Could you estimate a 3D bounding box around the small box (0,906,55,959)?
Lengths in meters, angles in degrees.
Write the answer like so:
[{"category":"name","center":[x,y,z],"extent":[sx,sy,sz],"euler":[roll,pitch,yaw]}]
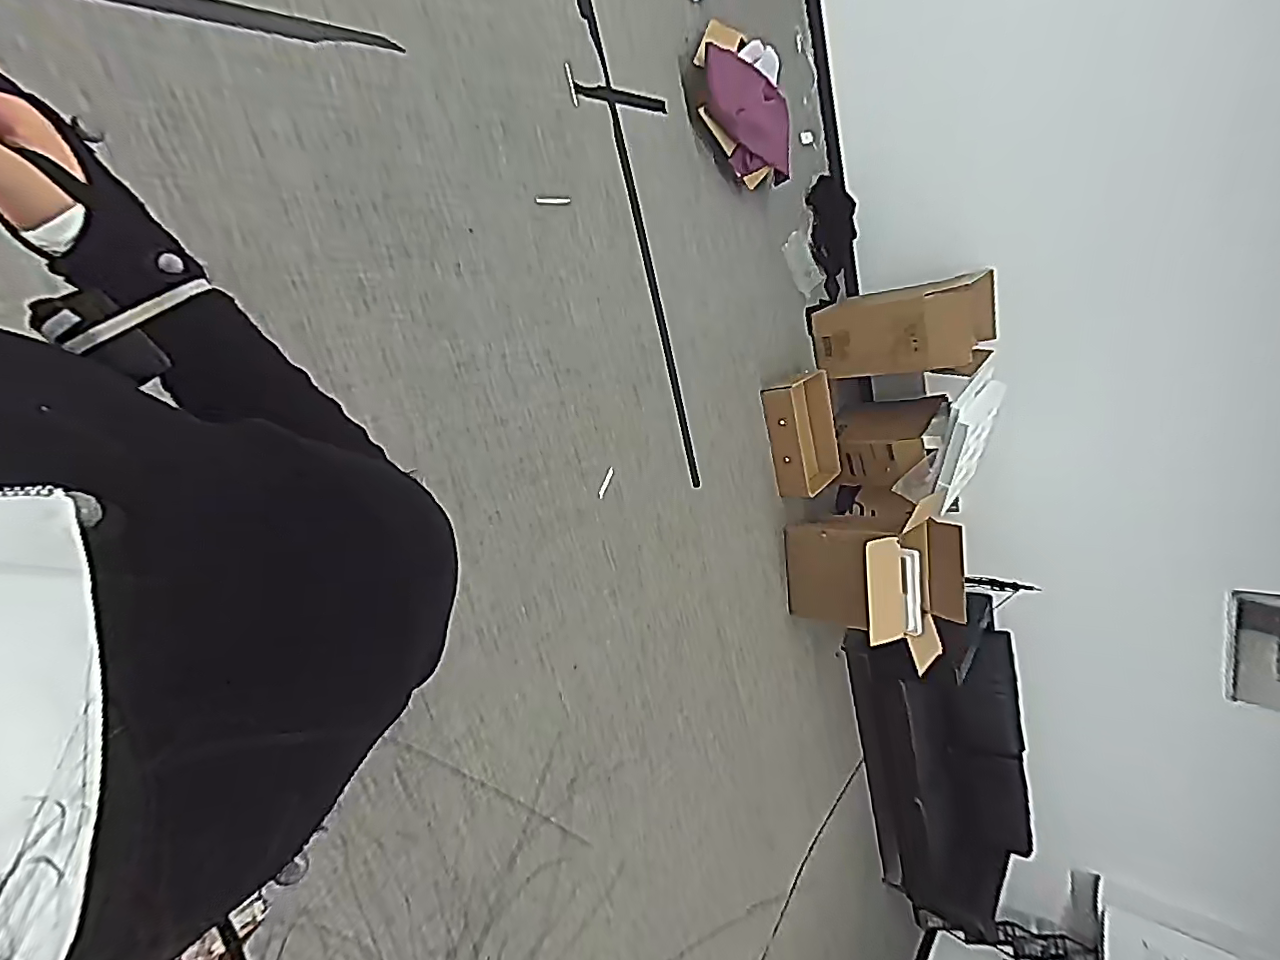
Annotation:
[{"category":"small box","center":[-0.801,0.650,0.607],"extent":[0.179,0.176,0.168],"euler":[-29,110,-41]}]
